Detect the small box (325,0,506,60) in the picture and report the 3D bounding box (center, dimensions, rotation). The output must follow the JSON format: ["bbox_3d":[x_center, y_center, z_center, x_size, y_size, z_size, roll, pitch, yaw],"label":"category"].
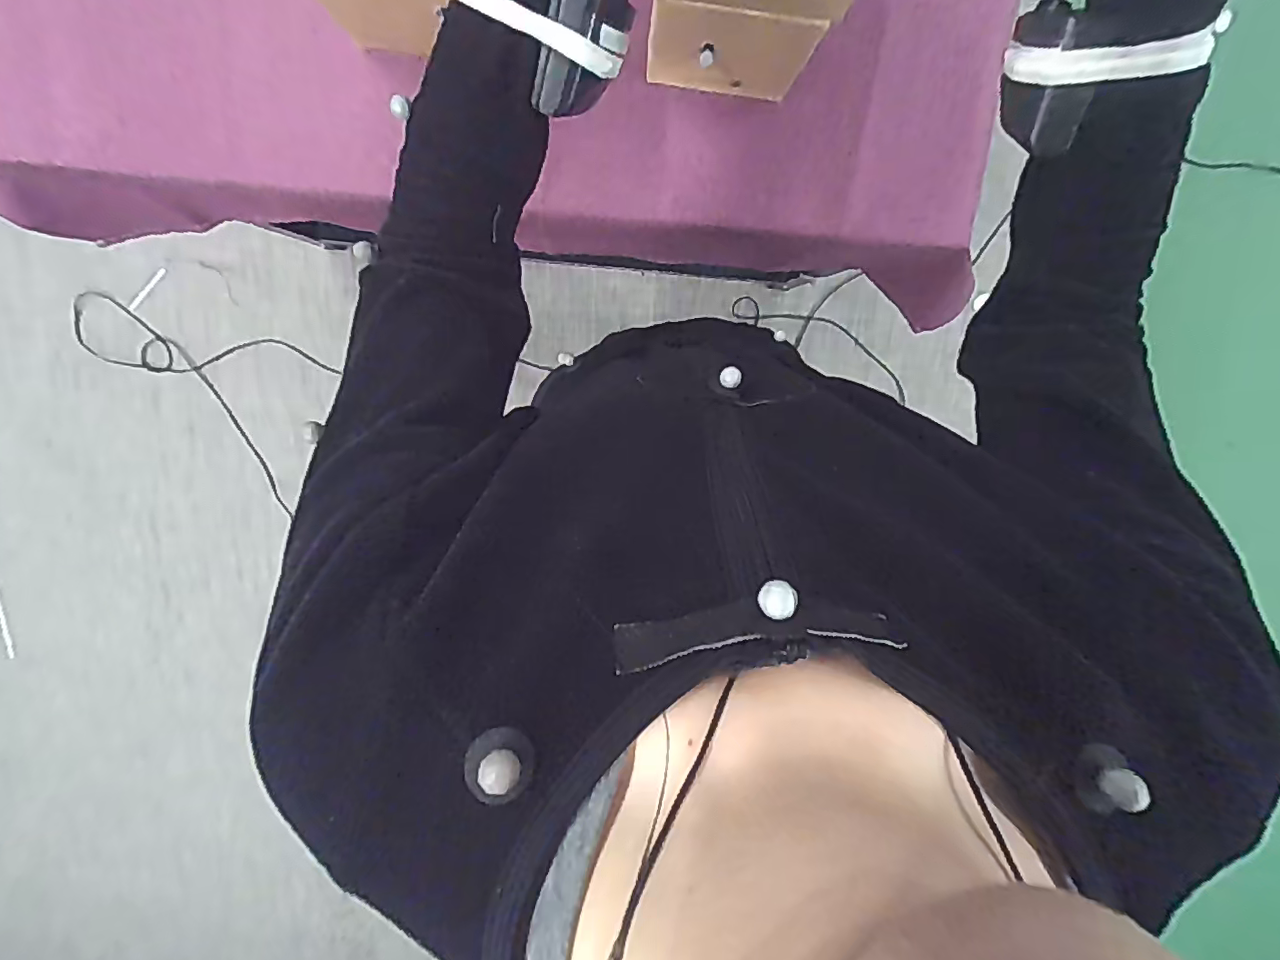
[{"bbox_3d":[-0.230,-0.558,0.538,0.179,0.176,0.168,4,102,-3],"label":"small box"}]

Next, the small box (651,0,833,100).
[{"bbox_3d":[0.103,-0.530,0.557,0.168,0.176,0.179,6,102,-3],"label":"small box"}]
